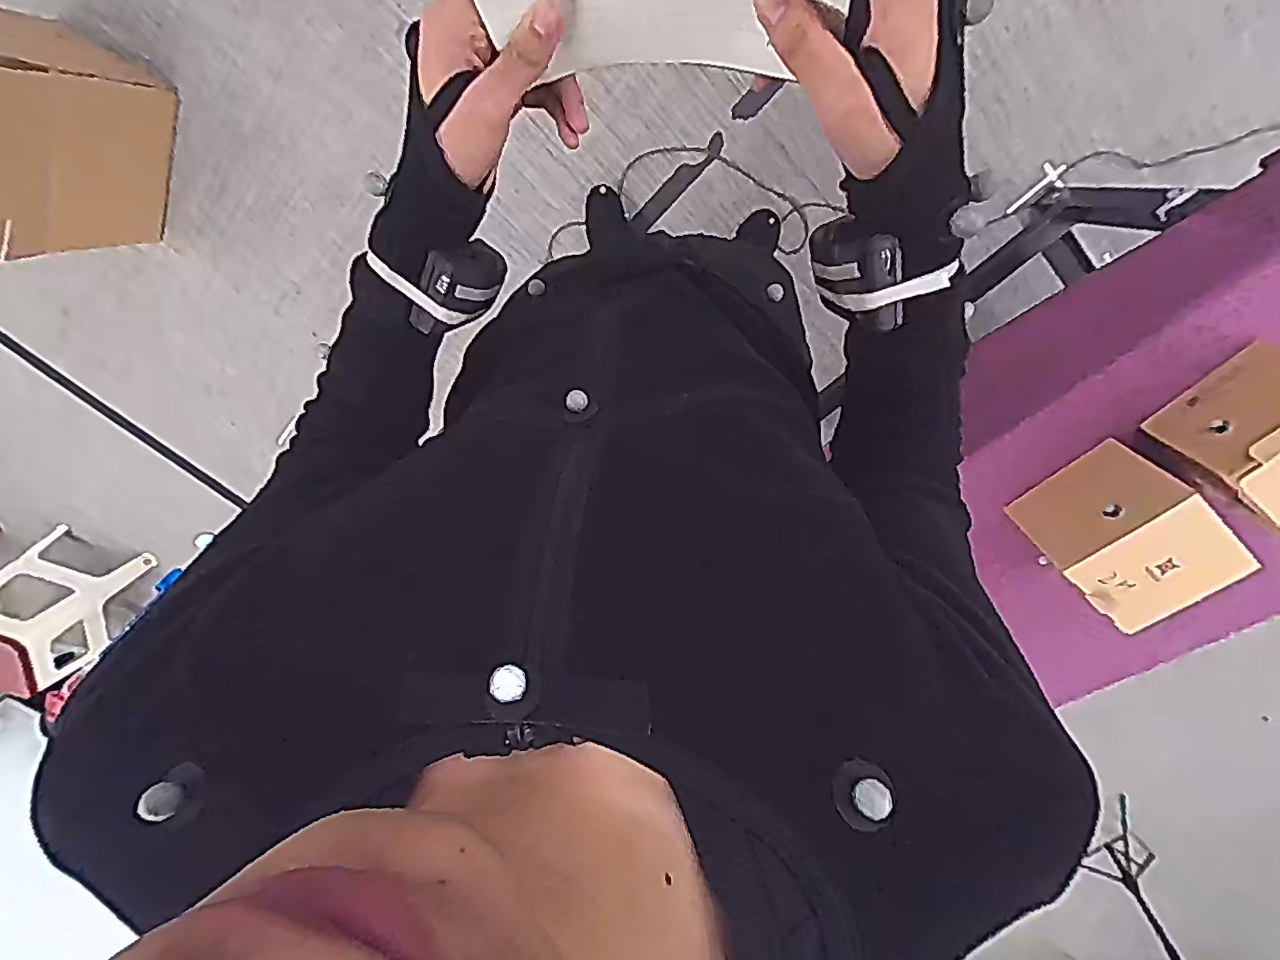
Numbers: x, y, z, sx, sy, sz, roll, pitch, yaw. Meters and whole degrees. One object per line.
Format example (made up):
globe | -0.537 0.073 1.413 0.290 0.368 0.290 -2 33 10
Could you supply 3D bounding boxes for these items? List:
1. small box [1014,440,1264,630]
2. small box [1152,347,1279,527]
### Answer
small box | 0.701 0.073 0.783 0.168 0.176 0.179 38 117 -14
small box | 0.839 -0.052 0.698 0.179 0.176 0.168 35 118 -13
